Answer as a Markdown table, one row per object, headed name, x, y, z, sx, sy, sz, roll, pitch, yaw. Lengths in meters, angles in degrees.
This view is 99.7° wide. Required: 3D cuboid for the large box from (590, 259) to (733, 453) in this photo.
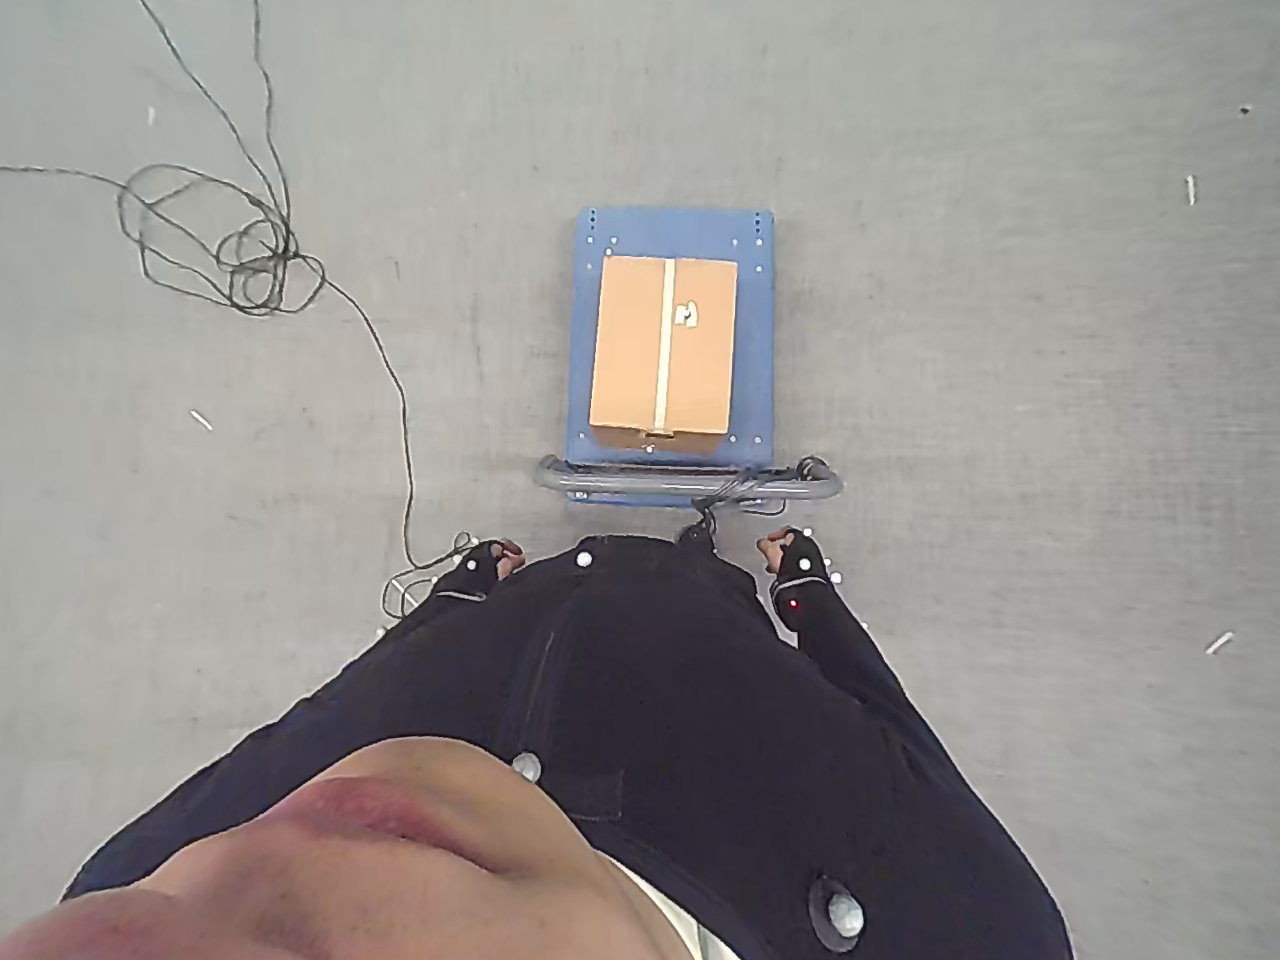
| name | x | y | z | sx | sy | sz | roll | pitch | yaw |
| --- | --- | --- | --- | --- | --- | --- | --- | --- | --- |
| large box | 0.057 | -0.294 | 1.381 | 0.320 | 0.320 | 0.408 | 4 | 84 | 1 |
